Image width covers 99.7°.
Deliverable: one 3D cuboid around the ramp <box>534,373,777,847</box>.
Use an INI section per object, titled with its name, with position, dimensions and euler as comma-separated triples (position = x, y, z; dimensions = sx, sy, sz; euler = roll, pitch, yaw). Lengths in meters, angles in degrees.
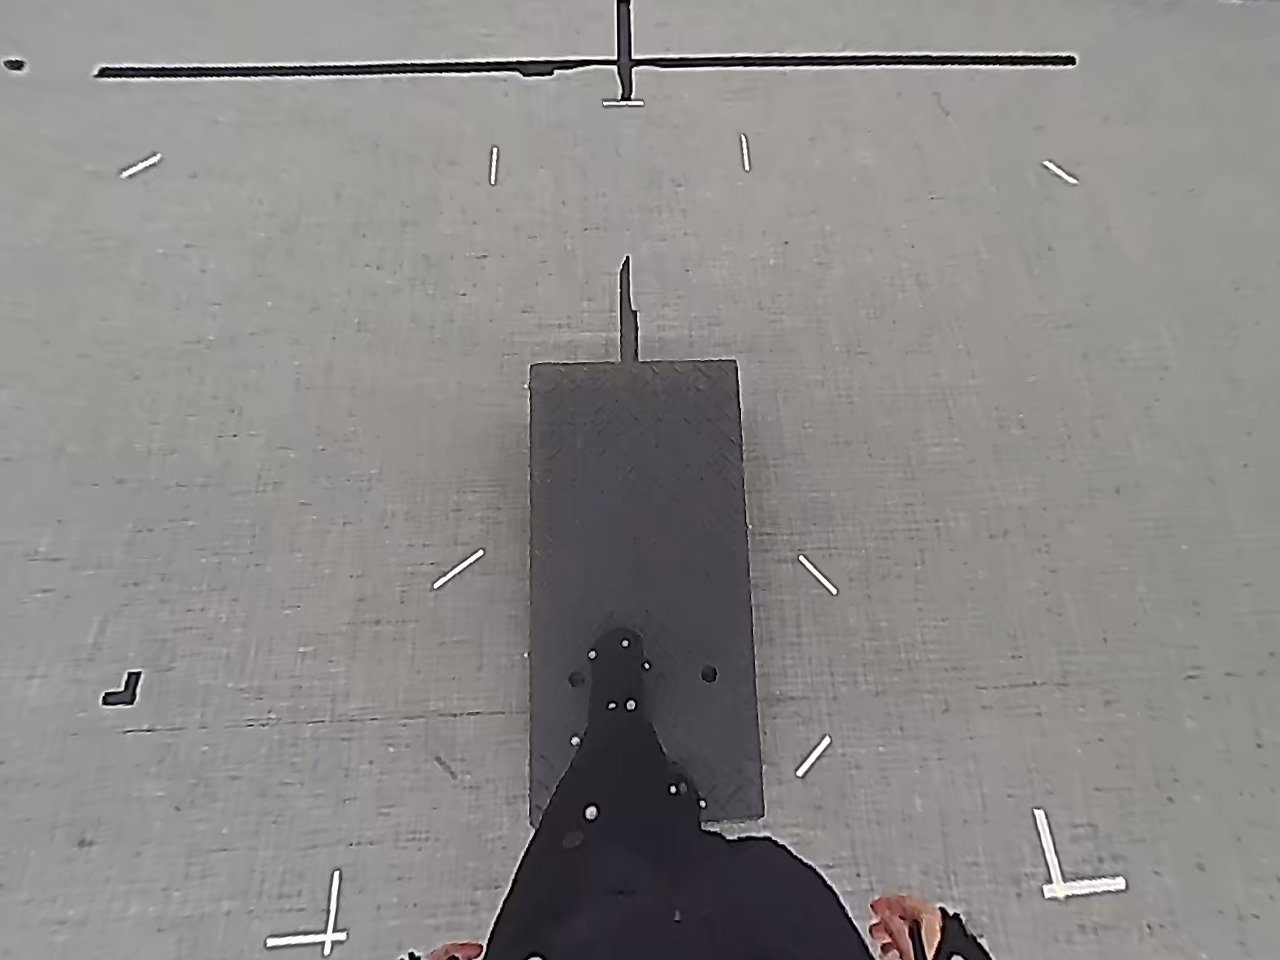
[ramp]
position = 0.019, 0.247, 1.196
dimensions = 0.509, 0.206, 0.991
euler = -4, 70, -3
